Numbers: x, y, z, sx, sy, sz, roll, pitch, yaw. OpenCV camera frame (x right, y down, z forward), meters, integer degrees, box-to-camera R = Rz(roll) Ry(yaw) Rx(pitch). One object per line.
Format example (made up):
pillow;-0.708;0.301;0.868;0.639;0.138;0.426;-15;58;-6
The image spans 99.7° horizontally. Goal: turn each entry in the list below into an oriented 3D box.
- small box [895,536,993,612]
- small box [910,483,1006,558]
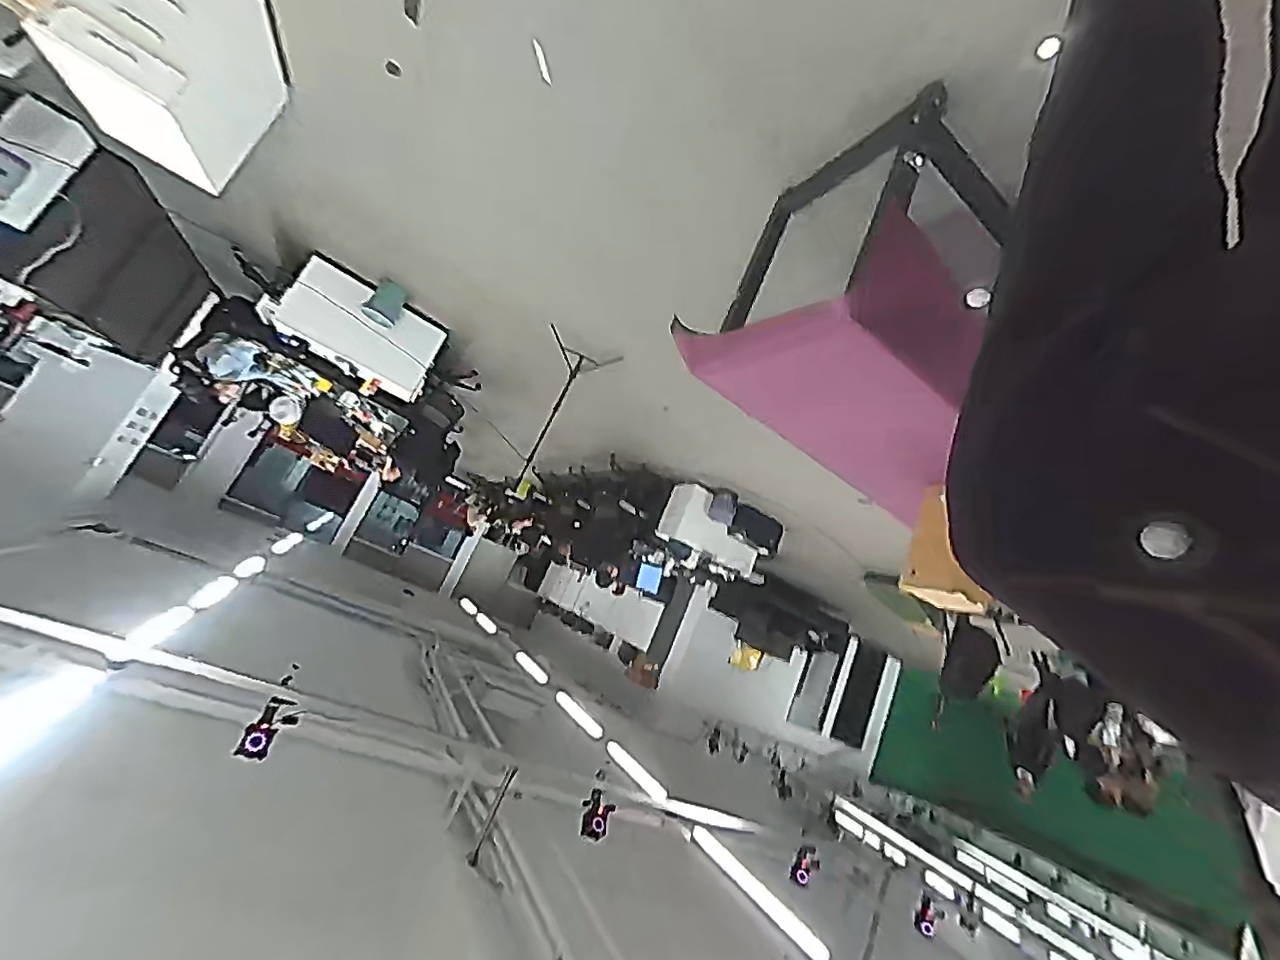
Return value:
small box;0.910;0.275;1.616;0.168;0.176;0.179;26;166;-13
small box;0.970;0.124;1.646;0.179;0.176;0.168;28;166;-14
